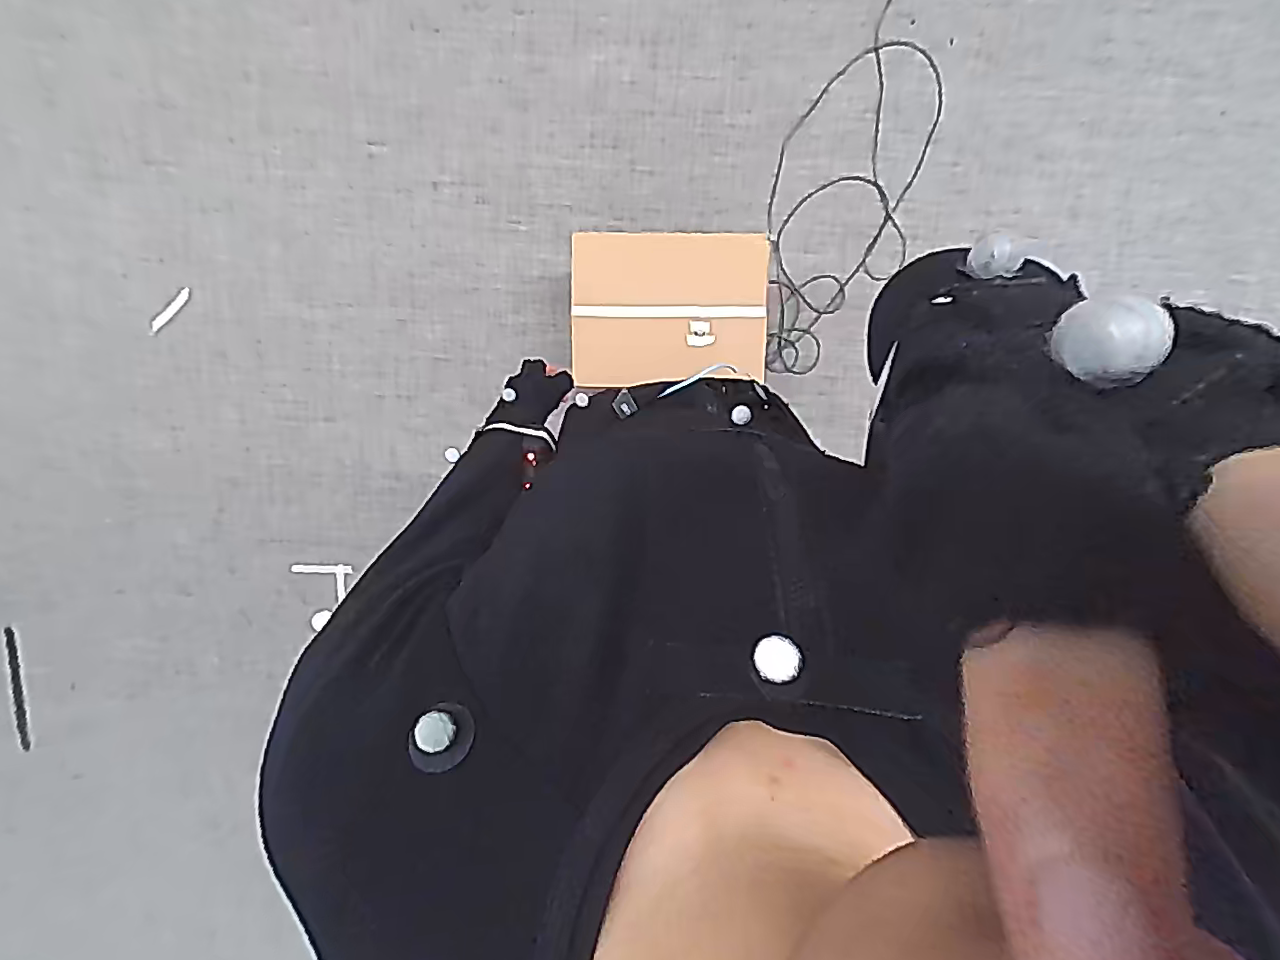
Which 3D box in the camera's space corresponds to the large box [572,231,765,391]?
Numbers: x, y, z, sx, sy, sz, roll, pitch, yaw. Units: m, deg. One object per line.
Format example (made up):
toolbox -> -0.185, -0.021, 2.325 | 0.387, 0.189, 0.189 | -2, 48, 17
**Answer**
large box -> 0.058, -0.375, 1.277 | 0.408, 0.320, 0.320 | 1, 98, 1
